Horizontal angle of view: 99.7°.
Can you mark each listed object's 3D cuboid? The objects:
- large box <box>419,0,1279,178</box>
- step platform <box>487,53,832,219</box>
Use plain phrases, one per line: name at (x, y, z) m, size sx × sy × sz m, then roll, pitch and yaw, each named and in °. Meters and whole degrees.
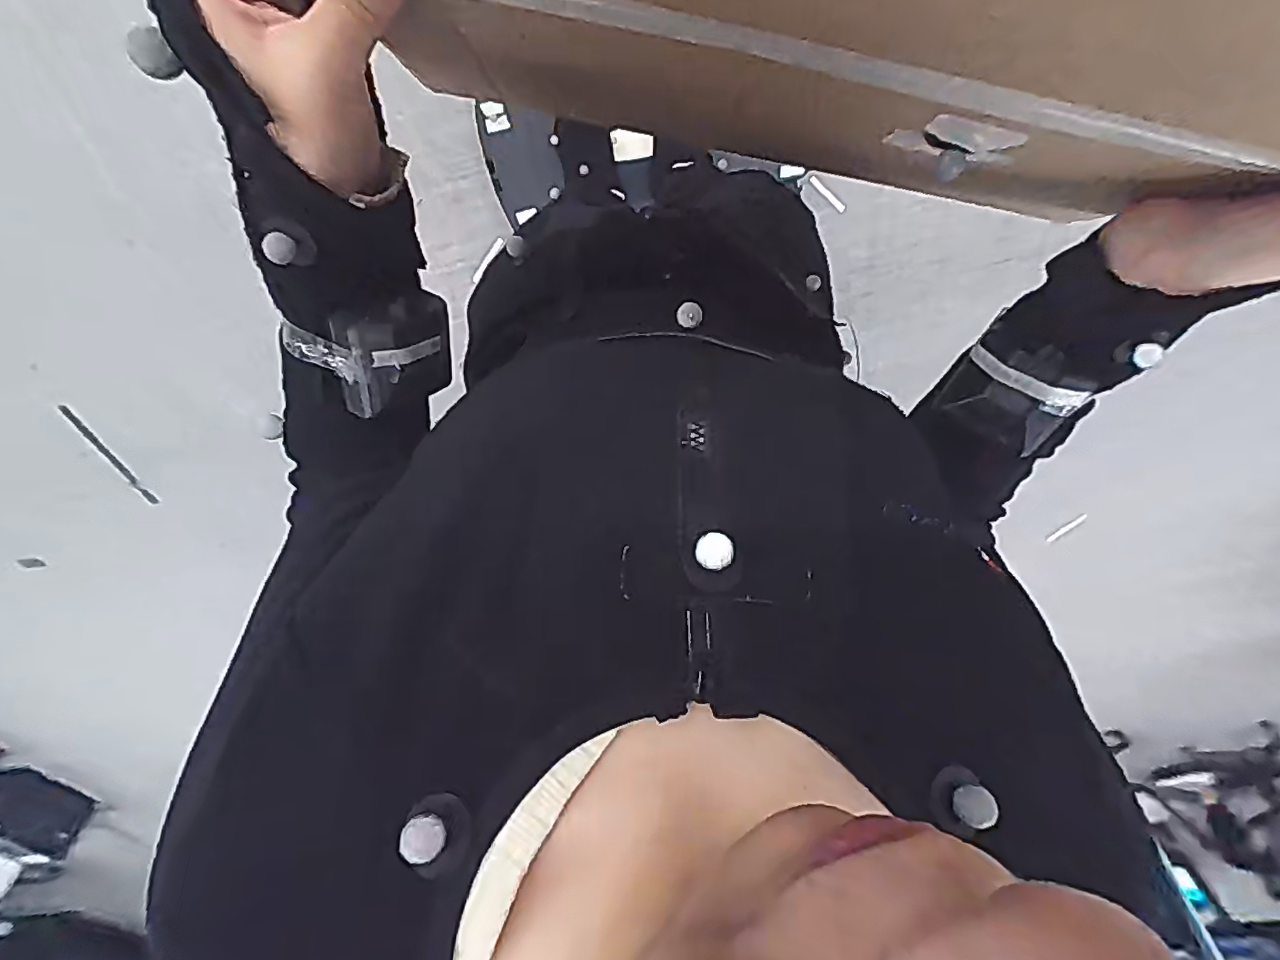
large box at (0.119, -0.301, 0.116) m, size 0.408 × 0.320 × 0.320 m, roll 8°, pitch 109°, yaw -5°
step platform at (0.041, -0.742, 1.116) m, size 0.684 × 0.204 × 0.286 m, roll -6°, pitch 128°, yaw 3°
